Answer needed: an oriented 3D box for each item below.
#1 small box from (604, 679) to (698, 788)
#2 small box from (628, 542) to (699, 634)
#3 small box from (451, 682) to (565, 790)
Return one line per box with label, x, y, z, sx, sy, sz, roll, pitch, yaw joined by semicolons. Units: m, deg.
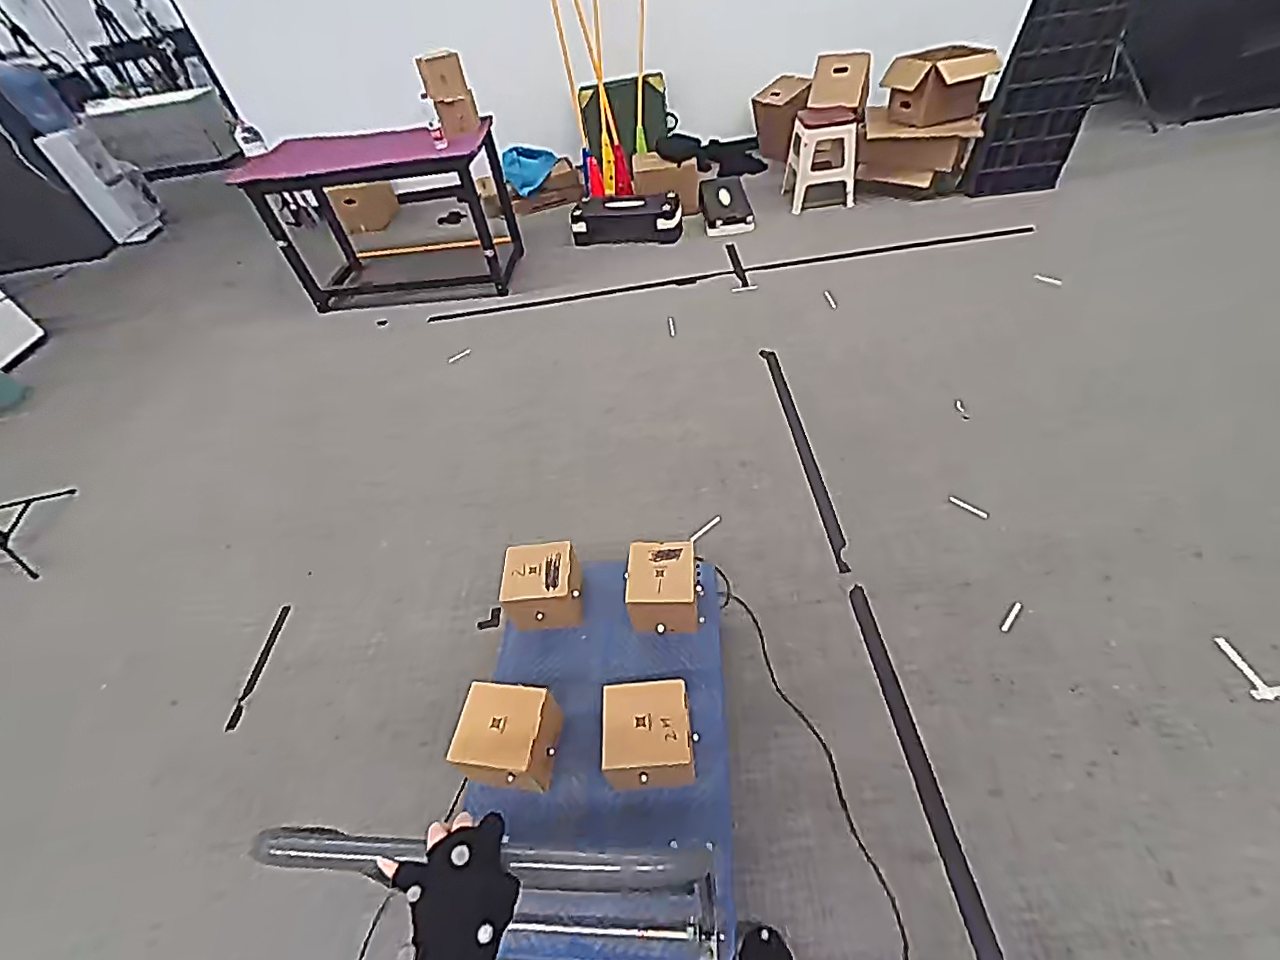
small box;0.026;0.545;1.154;0.179;0.176;0.168;-6;47;4
small box;0.066;0.277;1.393;0.168;0.176;0.179;-2;49;8
small box;-0.280;0.564;1.188;0.179;0.176;0.168;2;48;9
